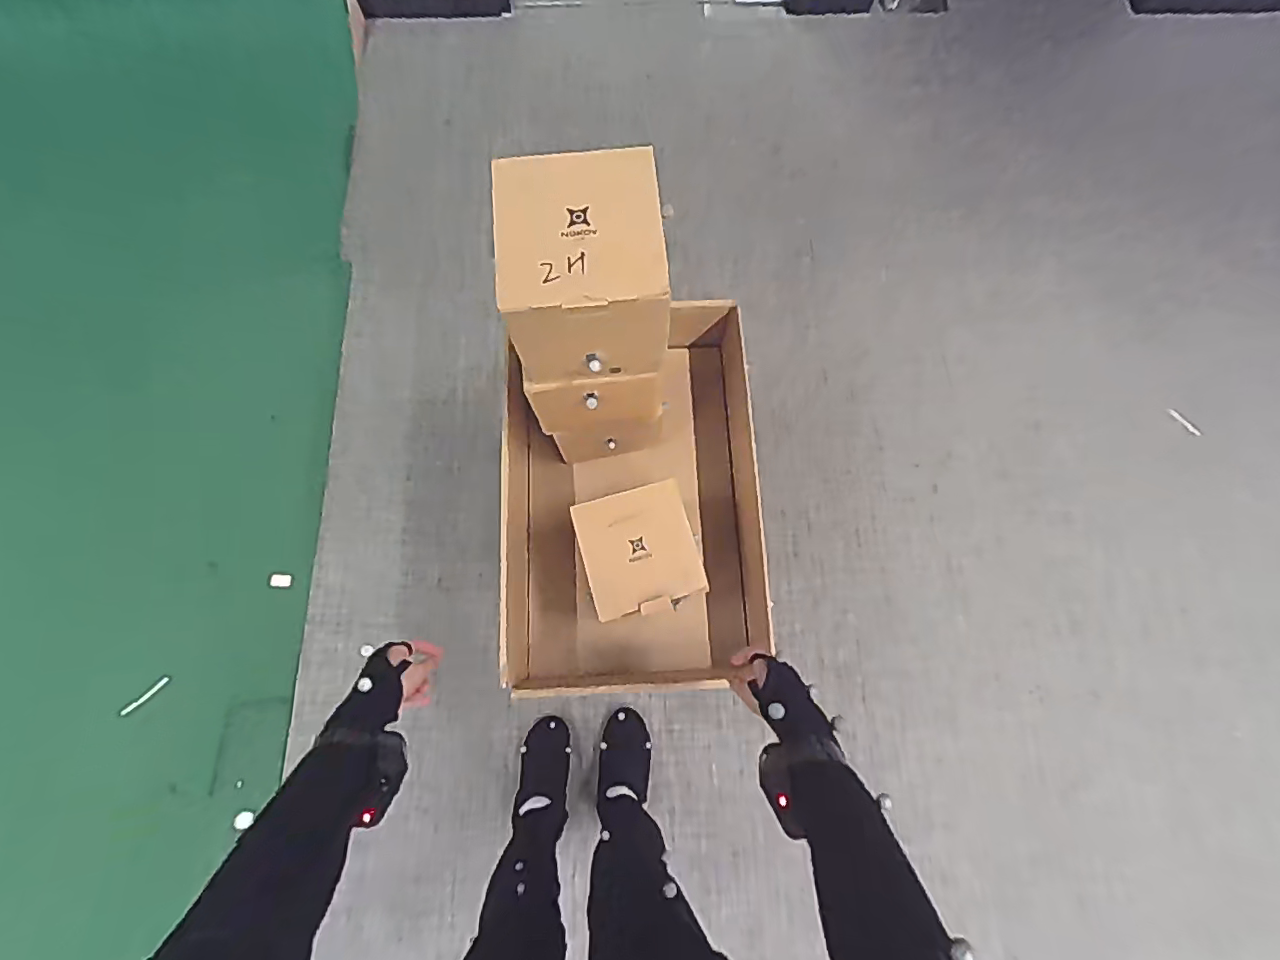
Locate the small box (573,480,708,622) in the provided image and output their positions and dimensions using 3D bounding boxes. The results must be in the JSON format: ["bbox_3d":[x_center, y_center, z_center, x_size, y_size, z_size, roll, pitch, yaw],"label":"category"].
[{"bbox_3d":[0.000,0.119,0.862,0.168,0.176,0.179,-15,76,-5],"label":"small box"}]

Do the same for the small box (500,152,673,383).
[{"bbox_3d":[-0.056,-0.227,0.609,0.168,0.176,0.179,-5,77,0],"label":"small box"}]

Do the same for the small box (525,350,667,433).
[{"bbox_3d":[-0.062,-0.176,0.767,0.179,0.176,0.168,-7,76,-1],"label":"small box"}]
